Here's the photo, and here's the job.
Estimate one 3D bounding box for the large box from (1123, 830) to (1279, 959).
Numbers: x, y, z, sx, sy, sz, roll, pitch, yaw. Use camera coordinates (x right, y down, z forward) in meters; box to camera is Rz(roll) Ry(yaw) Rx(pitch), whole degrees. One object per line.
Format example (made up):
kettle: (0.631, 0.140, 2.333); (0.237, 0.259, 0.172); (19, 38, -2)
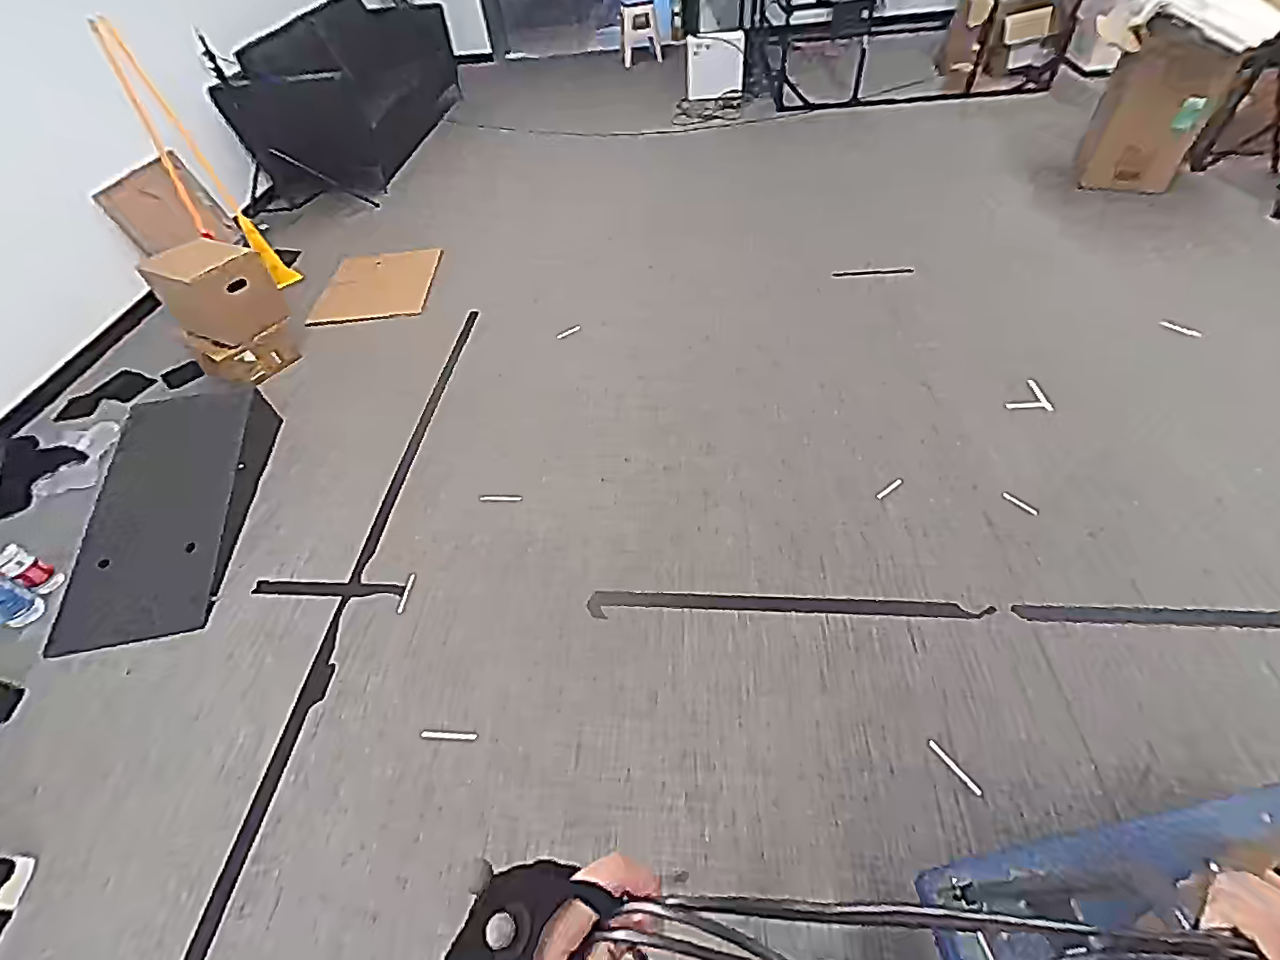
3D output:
large box: (1.048, 0.773, 0.752); (0.320, 0.320, 0.408); (-24, 53, -12)
